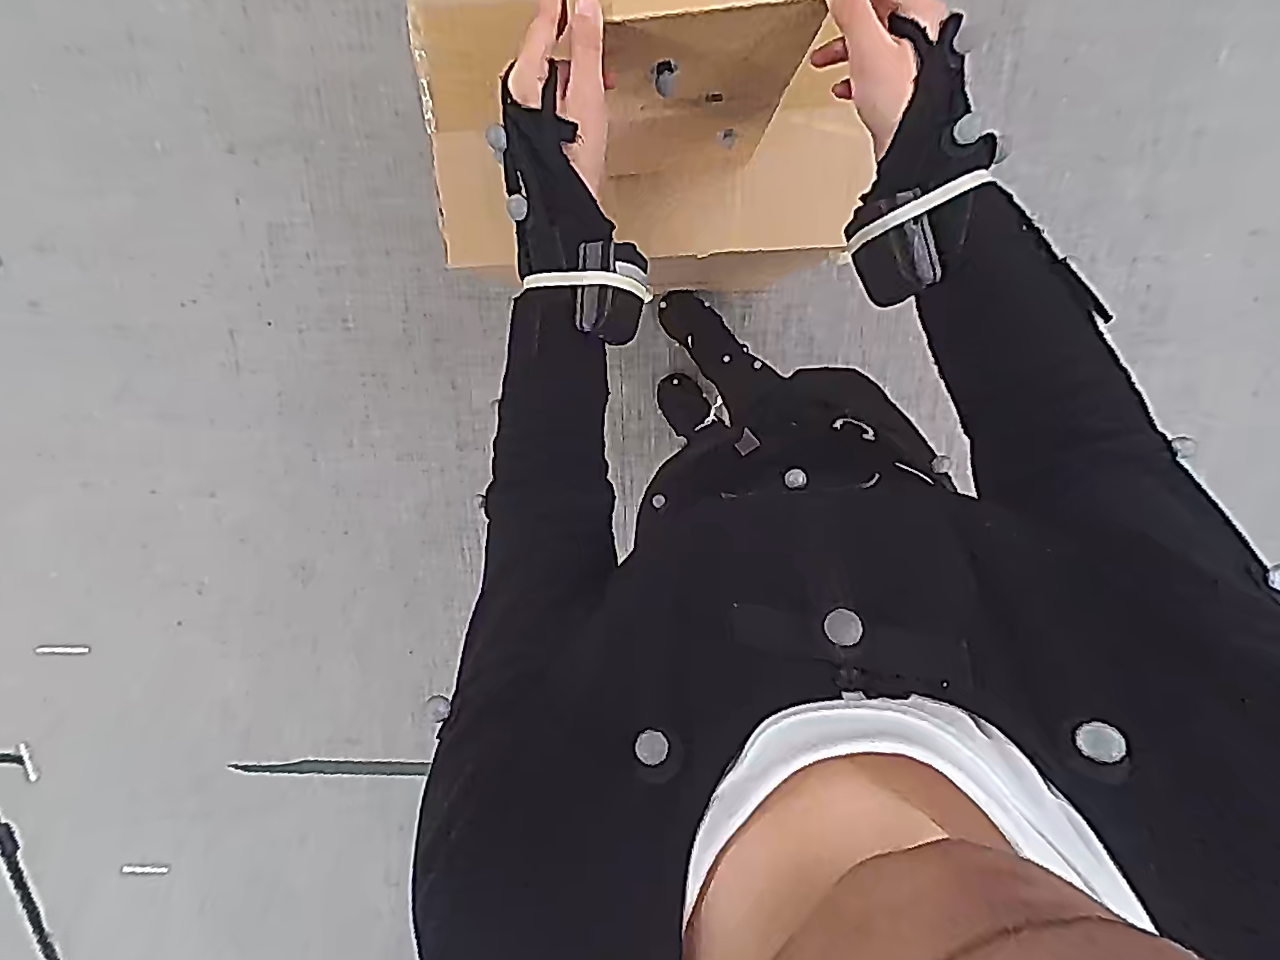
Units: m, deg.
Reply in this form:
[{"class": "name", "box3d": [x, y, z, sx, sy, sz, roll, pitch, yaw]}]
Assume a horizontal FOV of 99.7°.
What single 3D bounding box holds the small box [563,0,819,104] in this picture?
[{"class": "small box", "box3d": [0.034, -0.385, 0.368, 0.168, 0.176, 0.179, -4, 105, 3]}]
